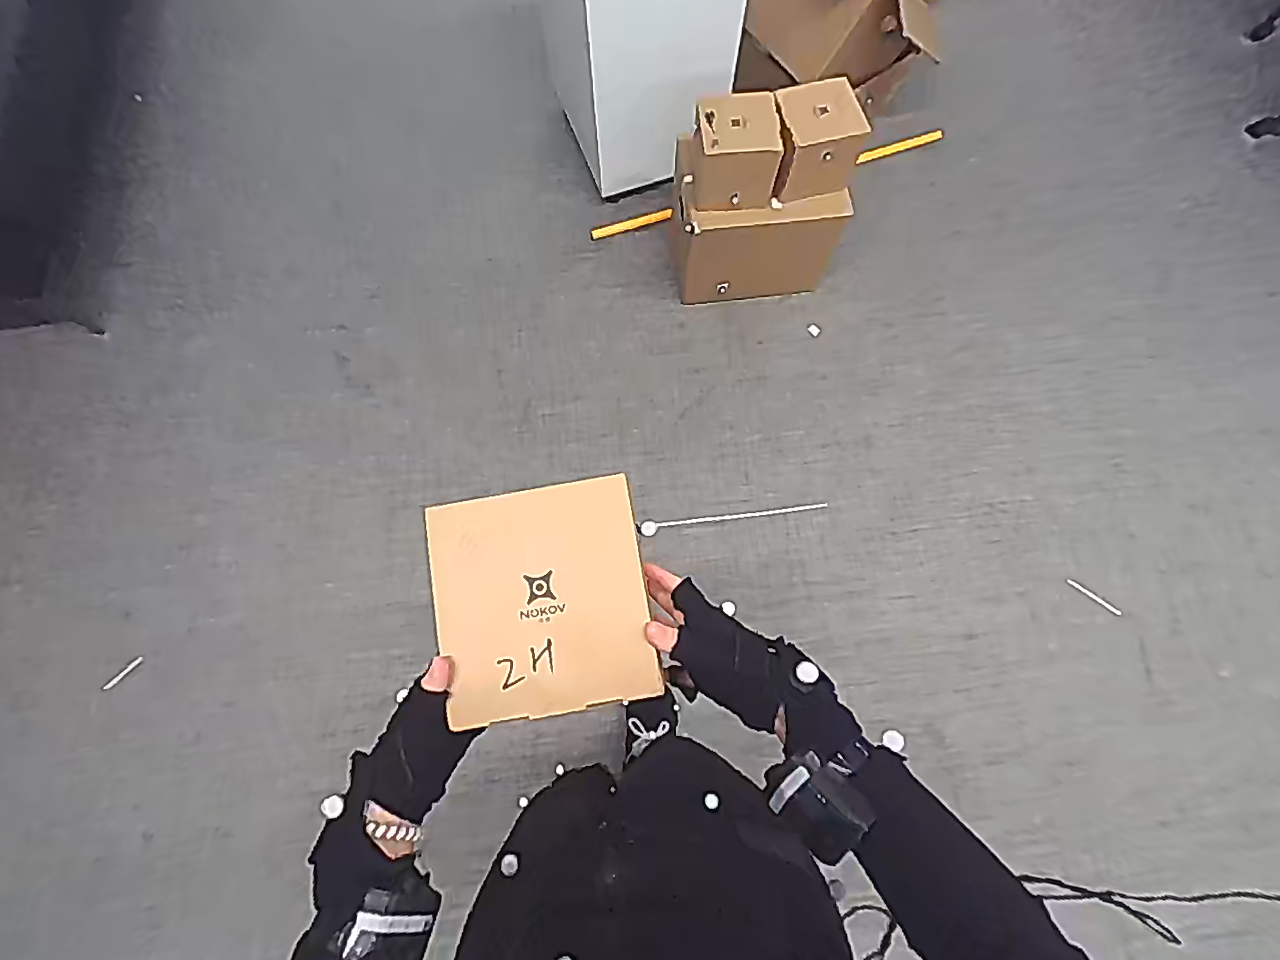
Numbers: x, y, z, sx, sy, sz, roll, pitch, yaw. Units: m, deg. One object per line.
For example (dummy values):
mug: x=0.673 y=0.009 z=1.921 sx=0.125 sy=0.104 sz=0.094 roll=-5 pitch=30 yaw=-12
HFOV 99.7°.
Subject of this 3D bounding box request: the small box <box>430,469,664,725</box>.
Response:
small box: x=-0.074 y=0.101 z=0.495 sx=0.168 sy=0.176 sz=0.179 roll=-9 pitch=80 yaw=0
